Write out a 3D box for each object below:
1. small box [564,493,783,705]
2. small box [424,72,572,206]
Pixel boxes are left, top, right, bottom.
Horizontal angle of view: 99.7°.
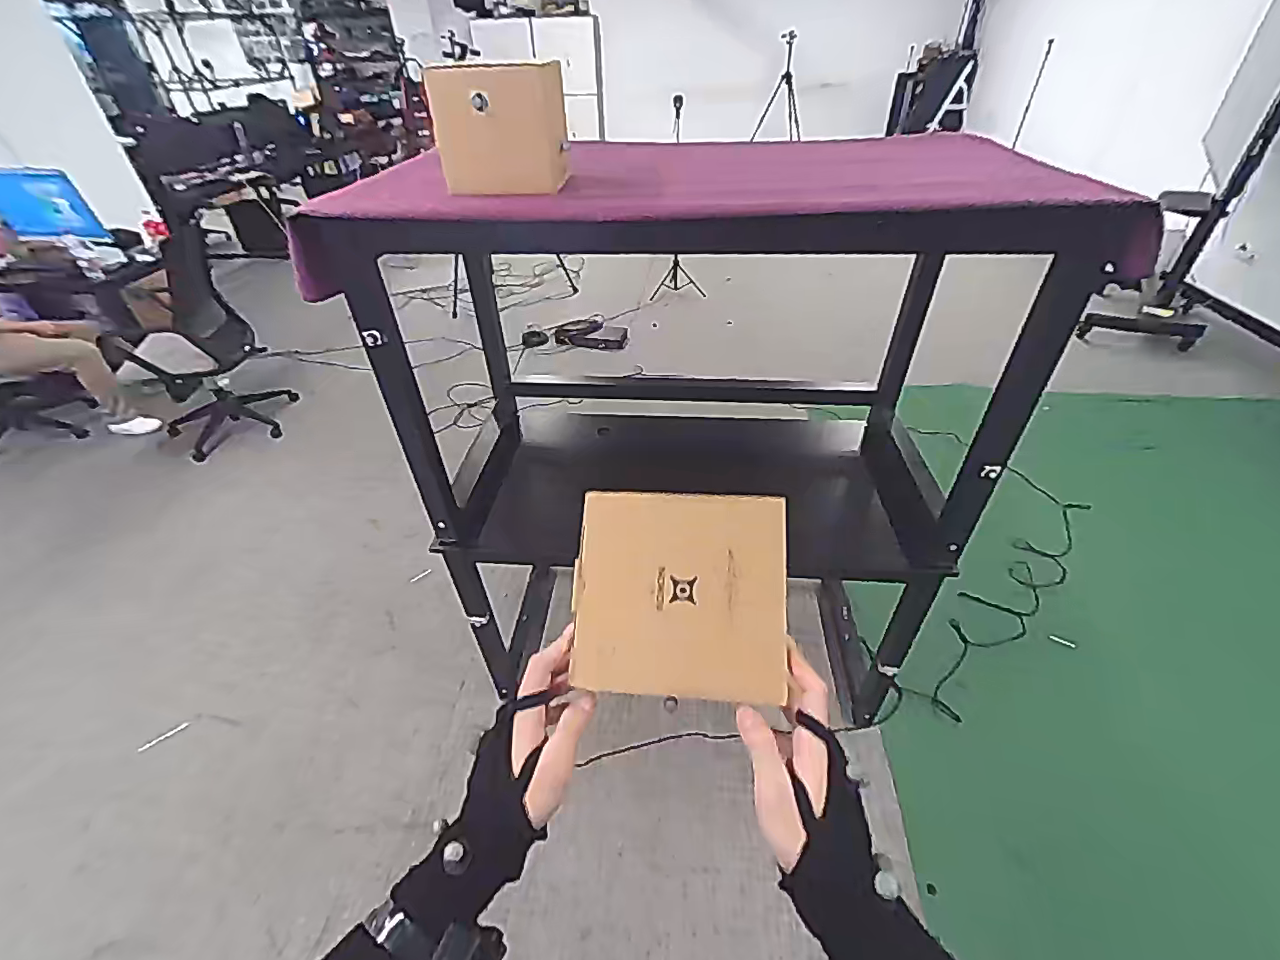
[{"bbox_3d":[0.041,0.115,0.522,0.179,0.176,0.168,2,73,8],"label":"small box"},{"bbox_3d":[-0.217,-0.554,0.880,0.179,0.176,0.168,1,40,4],"label":"small box"}]
